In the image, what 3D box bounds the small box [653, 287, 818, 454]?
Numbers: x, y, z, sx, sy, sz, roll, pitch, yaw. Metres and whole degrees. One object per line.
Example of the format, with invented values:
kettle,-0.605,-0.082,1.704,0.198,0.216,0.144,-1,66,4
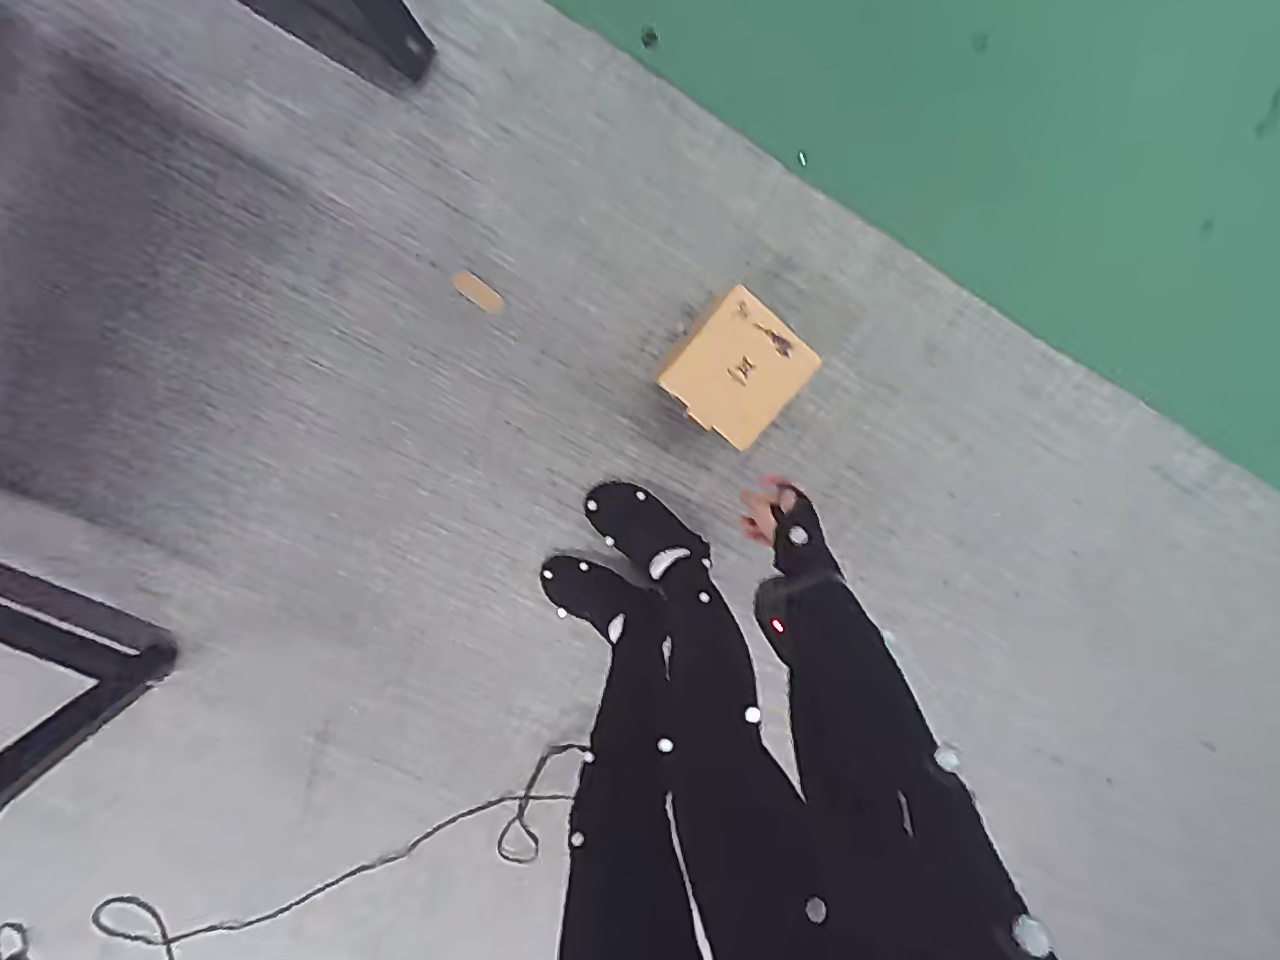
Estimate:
small box,0.134,-0.171,0.837,0.168,0.176,0.179,39,101,-13
